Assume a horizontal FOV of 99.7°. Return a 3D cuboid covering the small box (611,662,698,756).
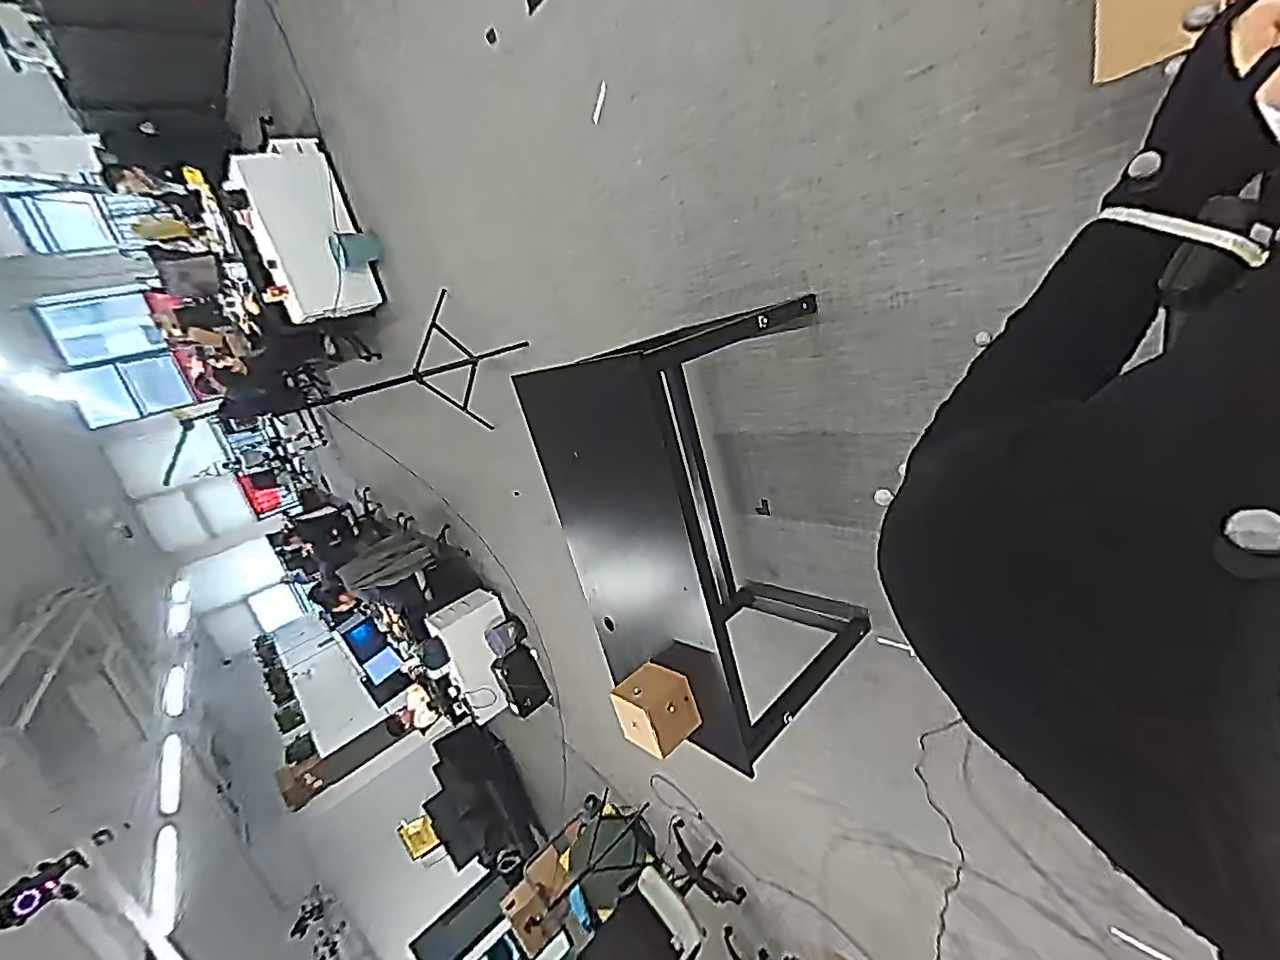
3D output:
[{"bbox_3d":[0.050,0.662,1.588,0.179,0.176,0.168,-2,110,53],"label":"small box"}]
